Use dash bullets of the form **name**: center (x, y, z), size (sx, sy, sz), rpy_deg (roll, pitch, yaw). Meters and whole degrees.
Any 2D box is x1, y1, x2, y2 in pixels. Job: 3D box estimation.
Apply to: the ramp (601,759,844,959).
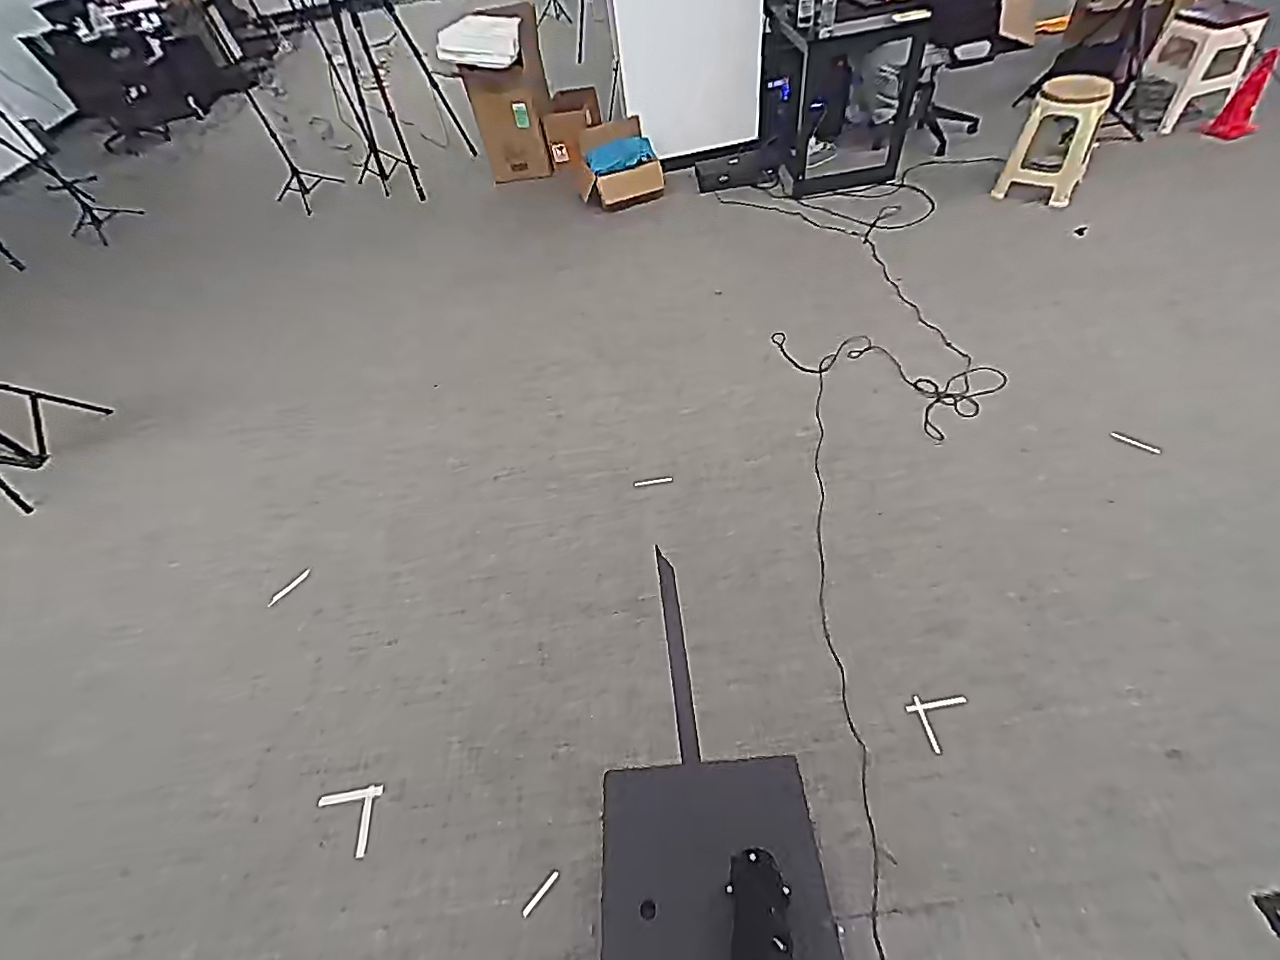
- **ramp**: center (0.163, 1.056, 0.996), size (0.509, 0.206, 0.991), rpy_deg (-9, 50, 4)
